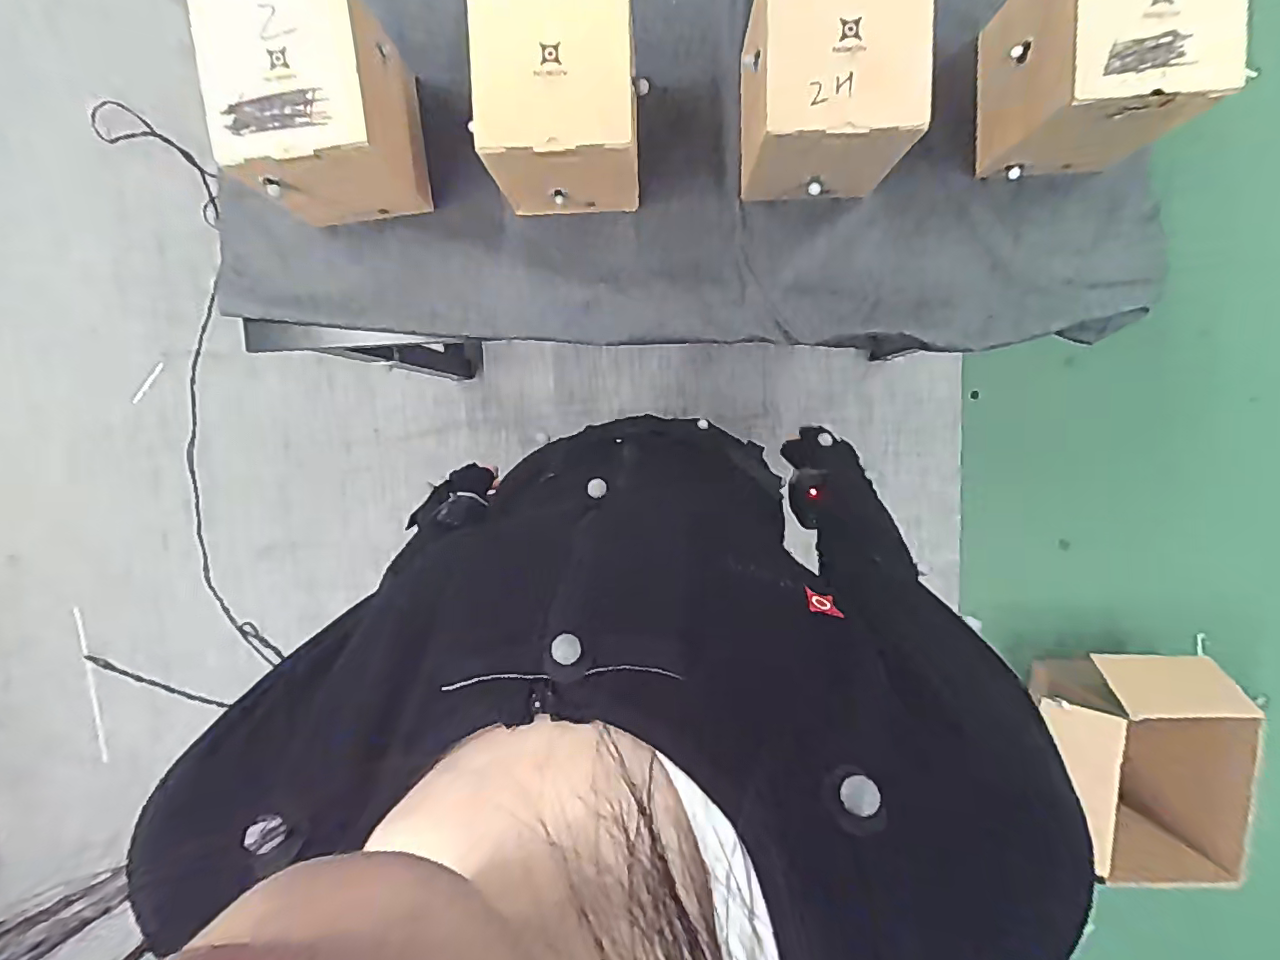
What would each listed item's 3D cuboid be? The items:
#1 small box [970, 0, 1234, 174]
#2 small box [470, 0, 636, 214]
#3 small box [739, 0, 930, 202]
[{"bbox_3d":[0.506,-0.472,0.618,0.168,0.176,0.179,-2,95,1],"label":"small box"},{"bbox_3d":[-0.090,-0.433,0.630,0.168,0.176,0.179,-2,96,0],"label":"small box"},{"bbox_3d":[0.208,-0.446,0.624,0.168,0.176,0.179,-1,96,1],"label":"small box"}]
